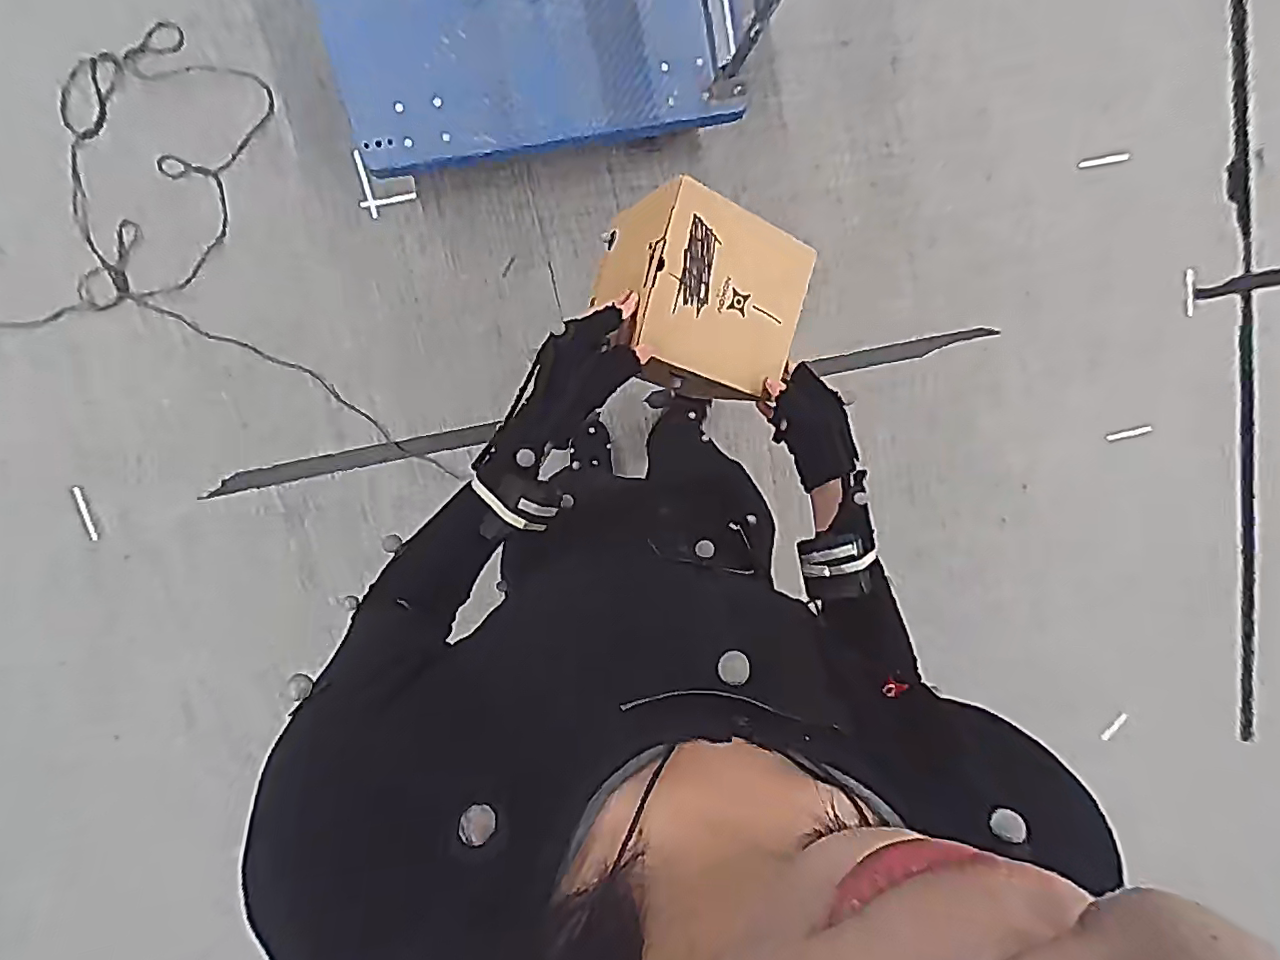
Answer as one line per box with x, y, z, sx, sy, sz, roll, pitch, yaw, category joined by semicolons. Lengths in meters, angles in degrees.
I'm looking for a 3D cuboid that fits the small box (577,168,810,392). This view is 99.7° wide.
0.048;-0.198;0.600;0.179;0.176;0.168;14;92;-28;small box

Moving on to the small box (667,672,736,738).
0.183;0.690;1.570;0.179;0.176;0.168;-16;101;-5;small box

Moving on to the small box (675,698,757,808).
0.193;0.704;1.407;0.168;0.176;0.179;-9;101;-6;small box
